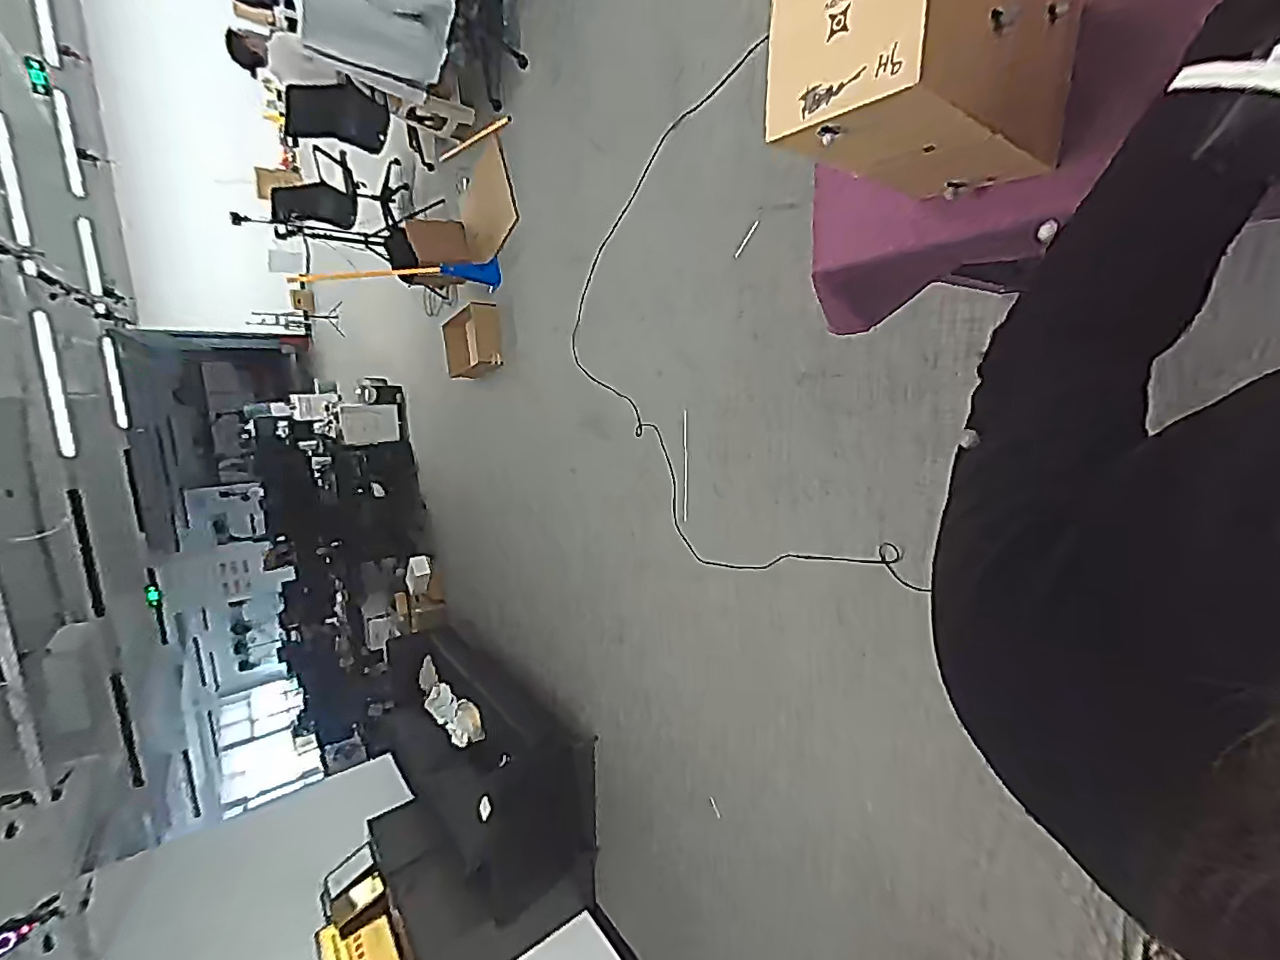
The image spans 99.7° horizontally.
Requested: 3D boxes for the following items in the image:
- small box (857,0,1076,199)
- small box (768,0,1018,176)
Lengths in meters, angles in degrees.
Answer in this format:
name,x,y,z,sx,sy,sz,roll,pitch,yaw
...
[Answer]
name,x,y,z,sx,sy,sz,roll,pitch,yaw
small box,0.387,-0.459,0.646,0.168,0.176,0.179,17,111,51
small box,0.255,-0.440,0.548,0.168,0.176,0.179,18,110,52
